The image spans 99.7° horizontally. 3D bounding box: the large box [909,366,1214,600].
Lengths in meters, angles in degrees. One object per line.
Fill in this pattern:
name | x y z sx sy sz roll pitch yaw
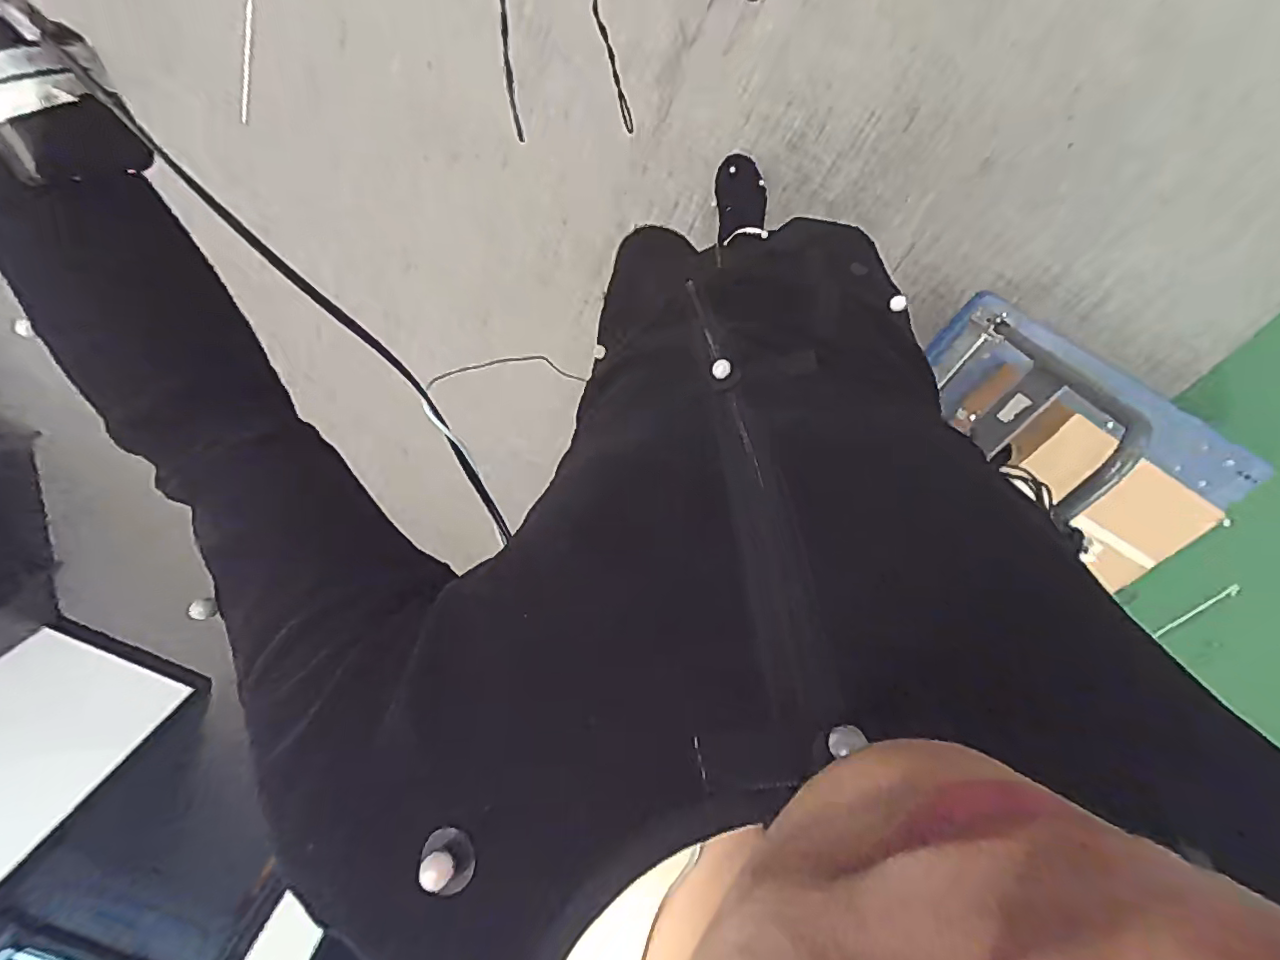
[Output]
large box | 0.925 -0.002 1.254 0.408 0.320 0.320 30 121 -8
